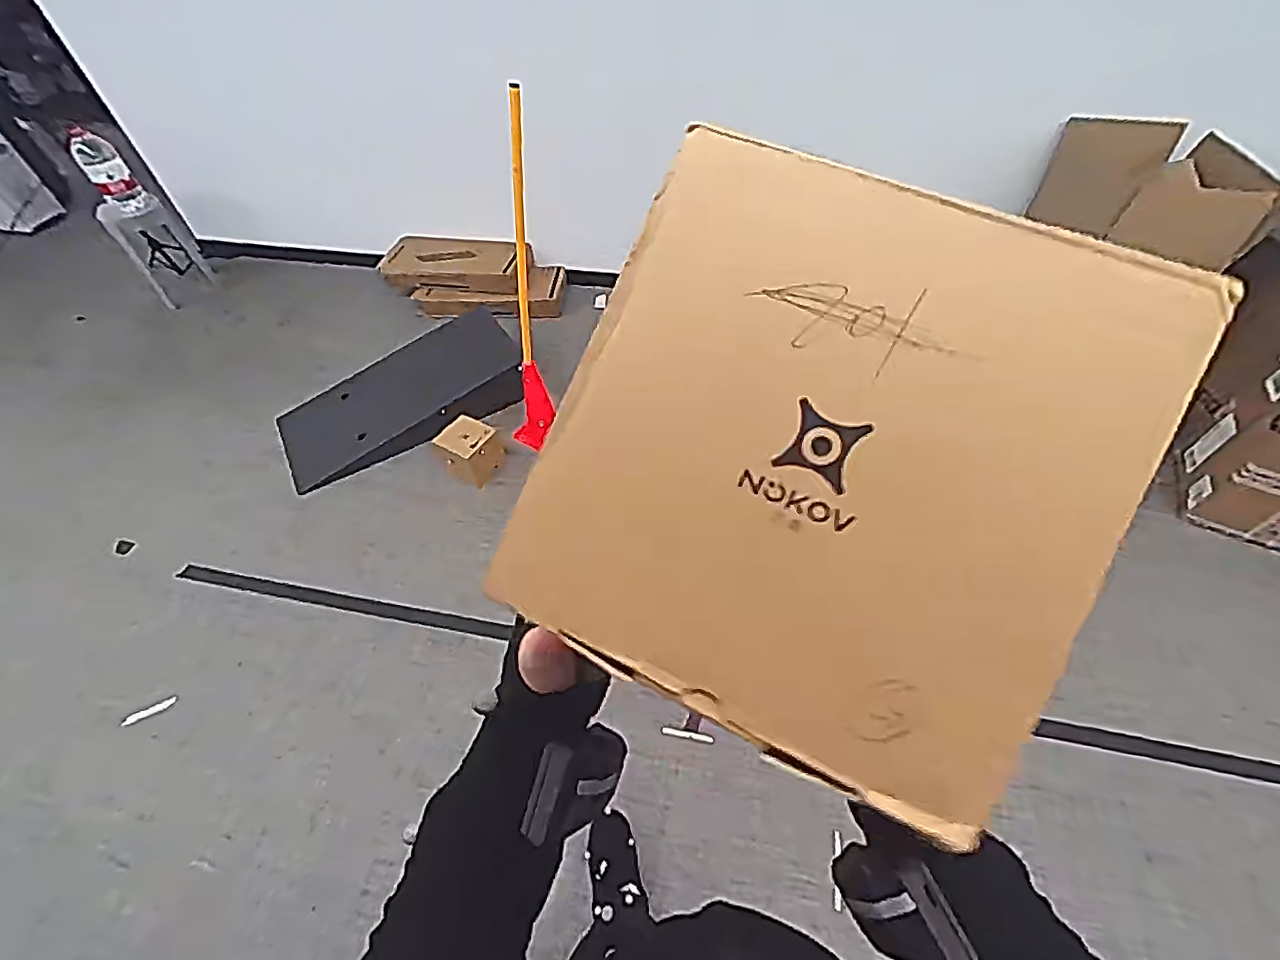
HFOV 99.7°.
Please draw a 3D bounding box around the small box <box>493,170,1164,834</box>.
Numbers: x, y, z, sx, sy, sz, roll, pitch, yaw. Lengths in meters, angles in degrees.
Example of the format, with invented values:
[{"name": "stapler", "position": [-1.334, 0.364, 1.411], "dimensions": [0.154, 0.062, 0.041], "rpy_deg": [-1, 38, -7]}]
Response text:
[{"name": "small box", "position": [0.066, 0.004, 0.256], "dimensions": [0.168, 0.176, 0.179], "rpy_deg": [23, 90, 11]}]
